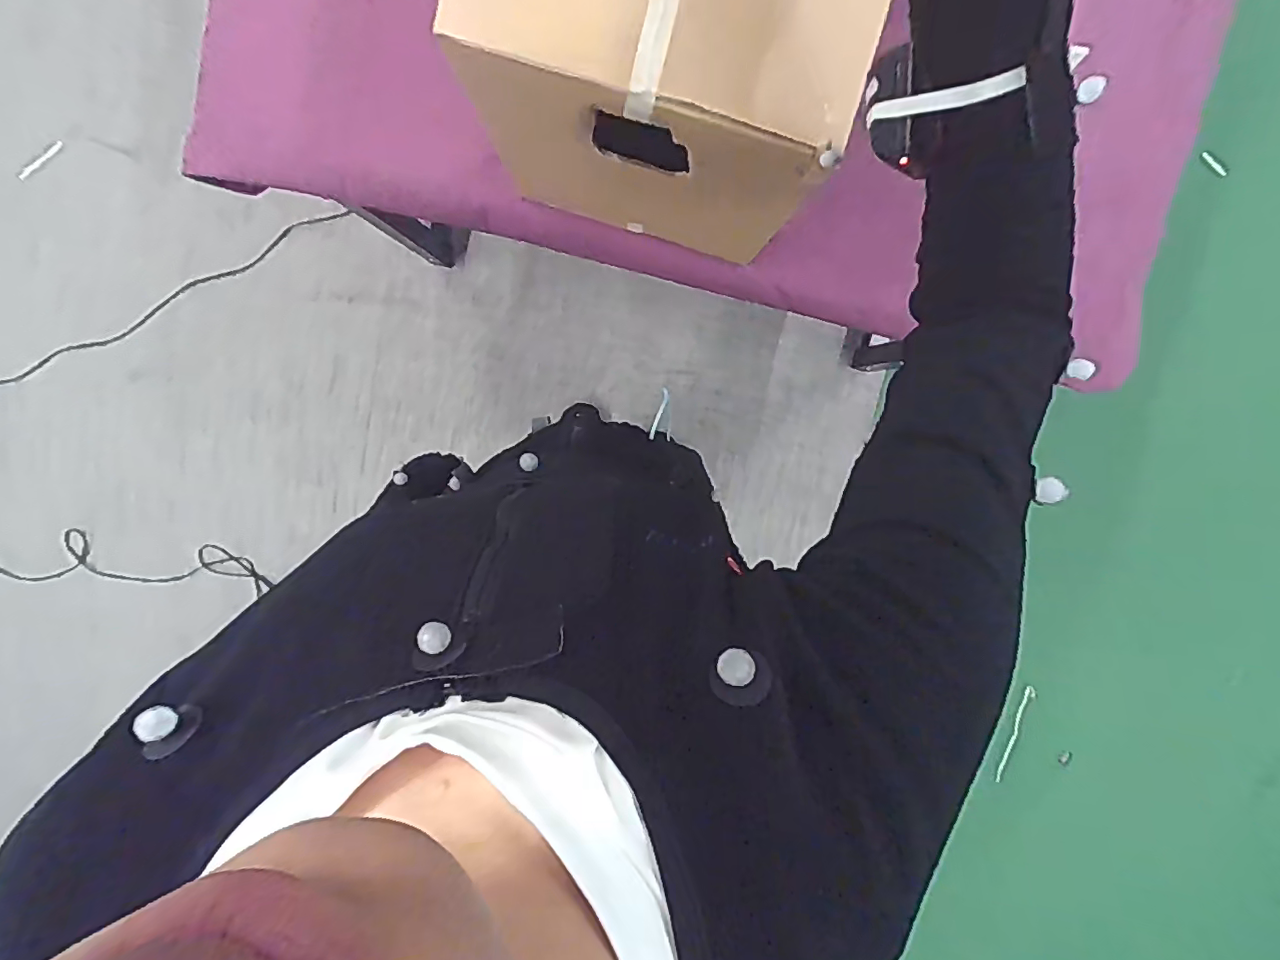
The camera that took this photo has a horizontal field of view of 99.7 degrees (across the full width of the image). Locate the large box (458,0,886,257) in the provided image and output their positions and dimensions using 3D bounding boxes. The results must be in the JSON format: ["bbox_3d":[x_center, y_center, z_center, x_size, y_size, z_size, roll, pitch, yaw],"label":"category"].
[{"bbox_3d":[0.053,-0.498,0.536,0.320,0.320,0.408,16,98,-3],"label":"large box"}]
